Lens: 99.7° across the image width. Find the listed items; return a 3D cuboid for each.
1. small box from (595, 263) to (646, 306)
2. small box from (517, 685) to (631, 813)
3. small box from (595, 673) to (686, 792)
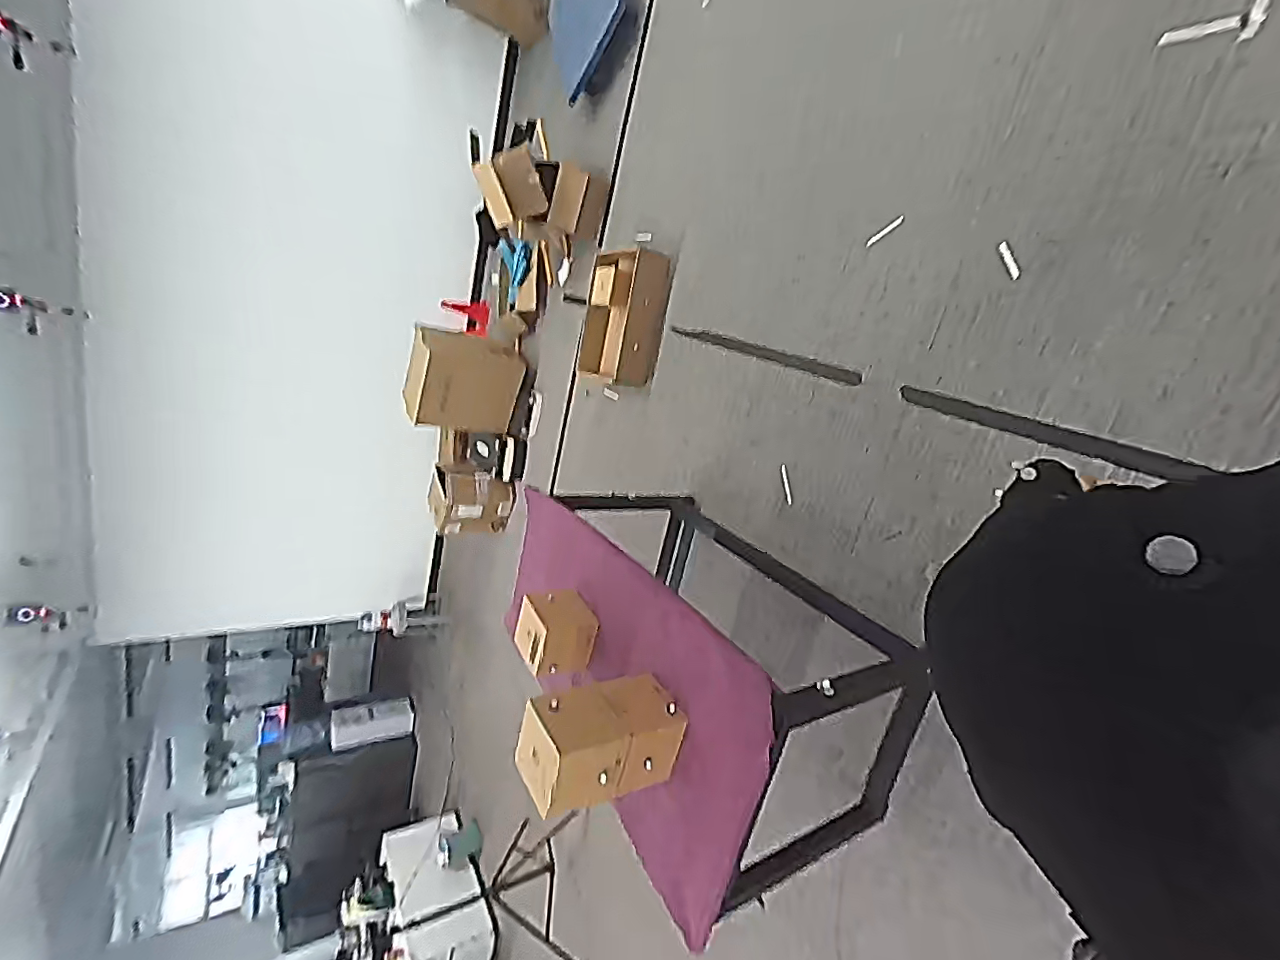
[{"bbox_3d":[-0.096,-0.949,2.629,0.179,0.176,0.168,28,111,51],"label":"small box"},{"bbox_3d":[-0.144,0.567,1.169,0.179,0.176,0.168,34,115,50],"label":"small box"},{"bbox_3d":[-0.014,0.580,1.269,0.168,0.176,0.179,35,116,50],"label":"small box"}]
